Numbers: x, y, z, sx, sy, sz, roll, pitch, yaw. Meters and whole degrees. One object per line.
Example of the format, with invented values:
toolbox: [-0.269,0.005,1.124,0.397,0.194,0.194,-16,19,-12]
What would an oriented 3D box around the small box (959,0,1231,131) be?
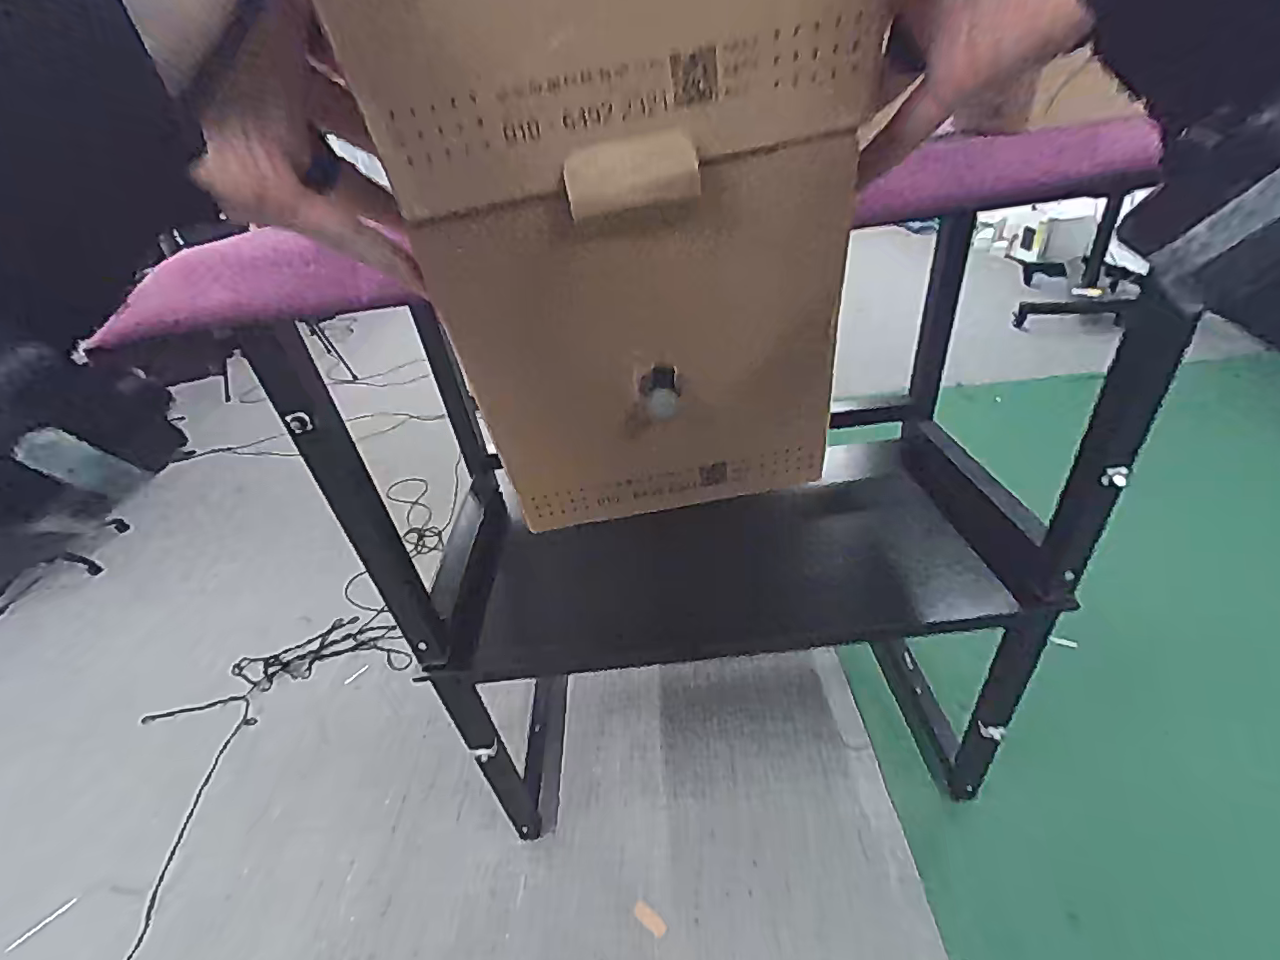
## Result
small box: [0.482,-0.494,0.584,0.179,0.176,0.168,-8,35,4]

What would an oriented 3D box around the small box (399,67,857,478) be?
small box: [-0.001,-0.117,0.298,0.168,0.176,0.179,-10,43,1]
